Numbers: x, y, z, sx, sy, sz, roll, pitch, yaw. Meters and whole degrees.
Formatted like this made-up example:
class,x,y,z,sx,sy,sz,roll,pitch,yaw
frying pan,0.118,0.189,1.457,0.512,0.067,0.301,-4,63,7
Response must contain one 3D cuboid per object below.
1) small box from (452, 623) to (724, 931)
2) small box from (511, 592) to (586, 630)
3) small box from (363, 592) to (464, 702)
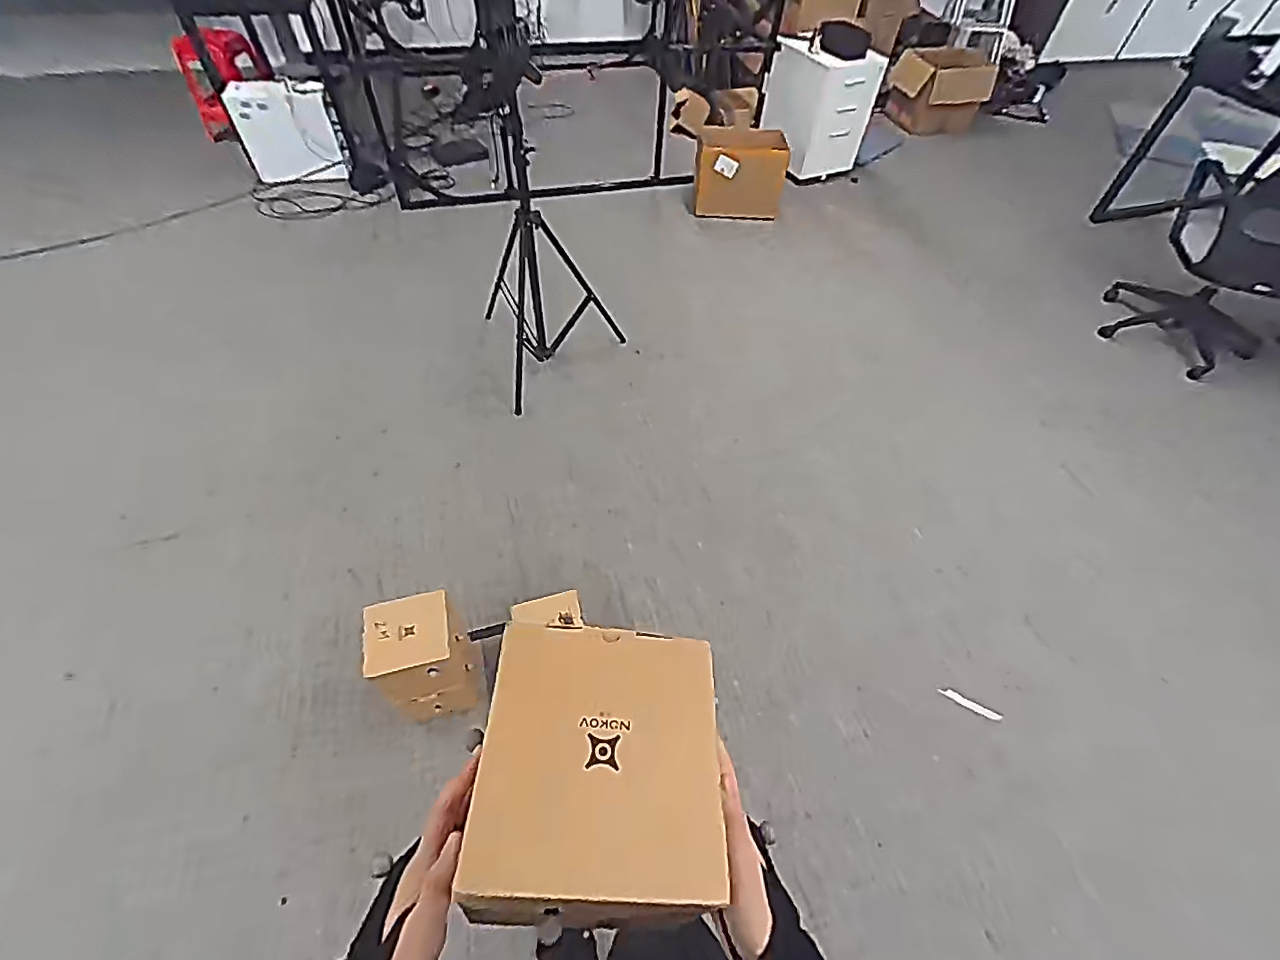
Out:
class,x,y,z,sx,sy,sz,roll,pitch,yaw
small box,-0.039,0.240,0.433,0.168,0.176,0.179,7,44,-6
small box,-0.228,0.418,1.414,0.179,0.176,0.168,-13,55,-11
small box,-0.503,0.379,1.222,0.179,0.176,0.168,-12,53,-12
